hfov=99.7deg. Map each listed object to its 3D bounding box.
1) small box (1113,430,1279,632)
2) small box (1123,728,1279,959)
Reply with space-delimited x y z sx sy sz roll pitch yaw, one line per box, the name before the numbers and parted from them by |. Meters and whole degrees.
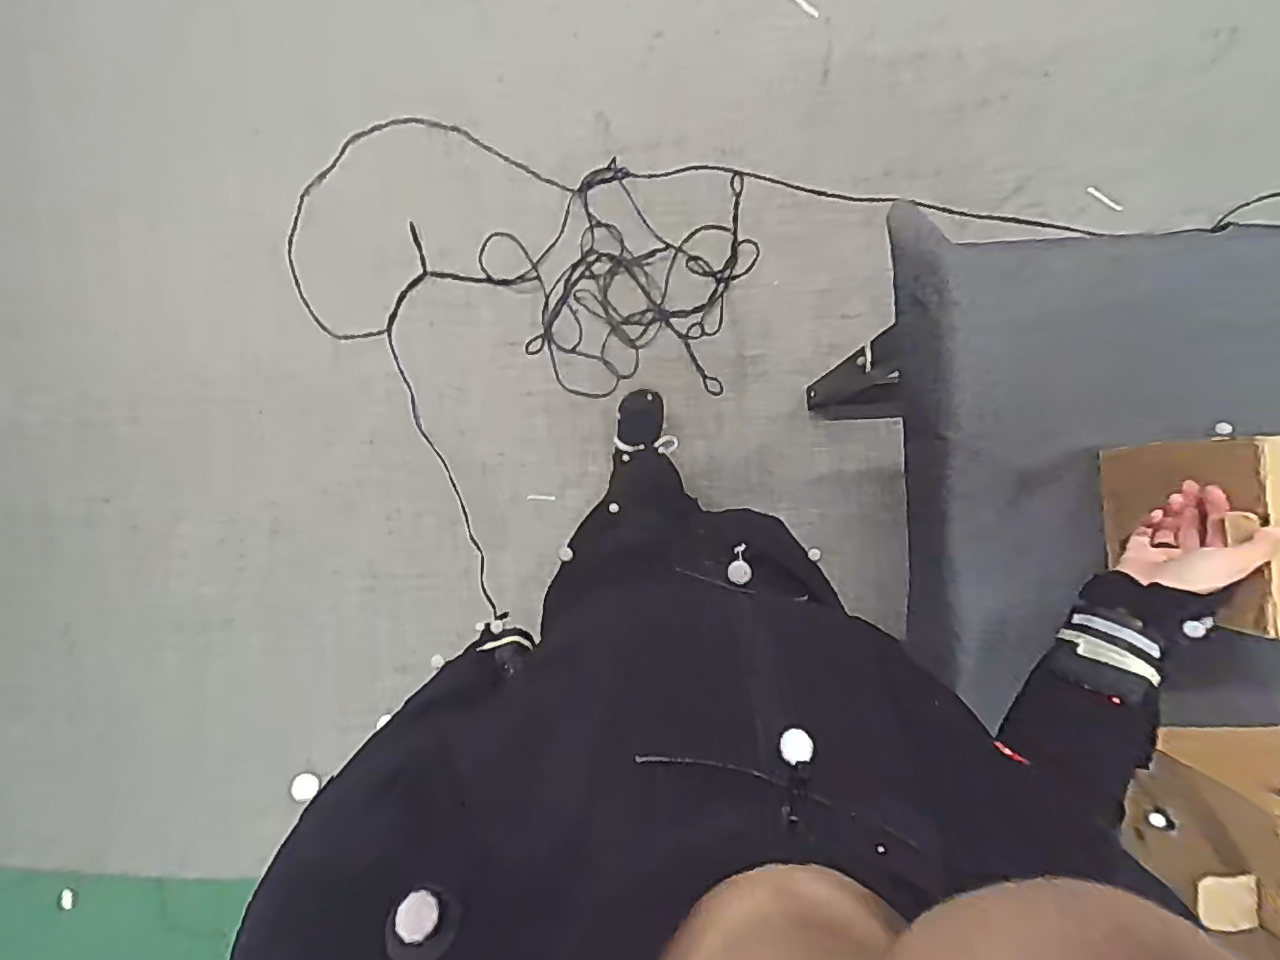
small box | 0.590 0.037 0.507 0.179 0.176 0.168 -4 91 3
small box | 0.612 0.350 0.507 0.179 0.176 0.168 -2 90 4
